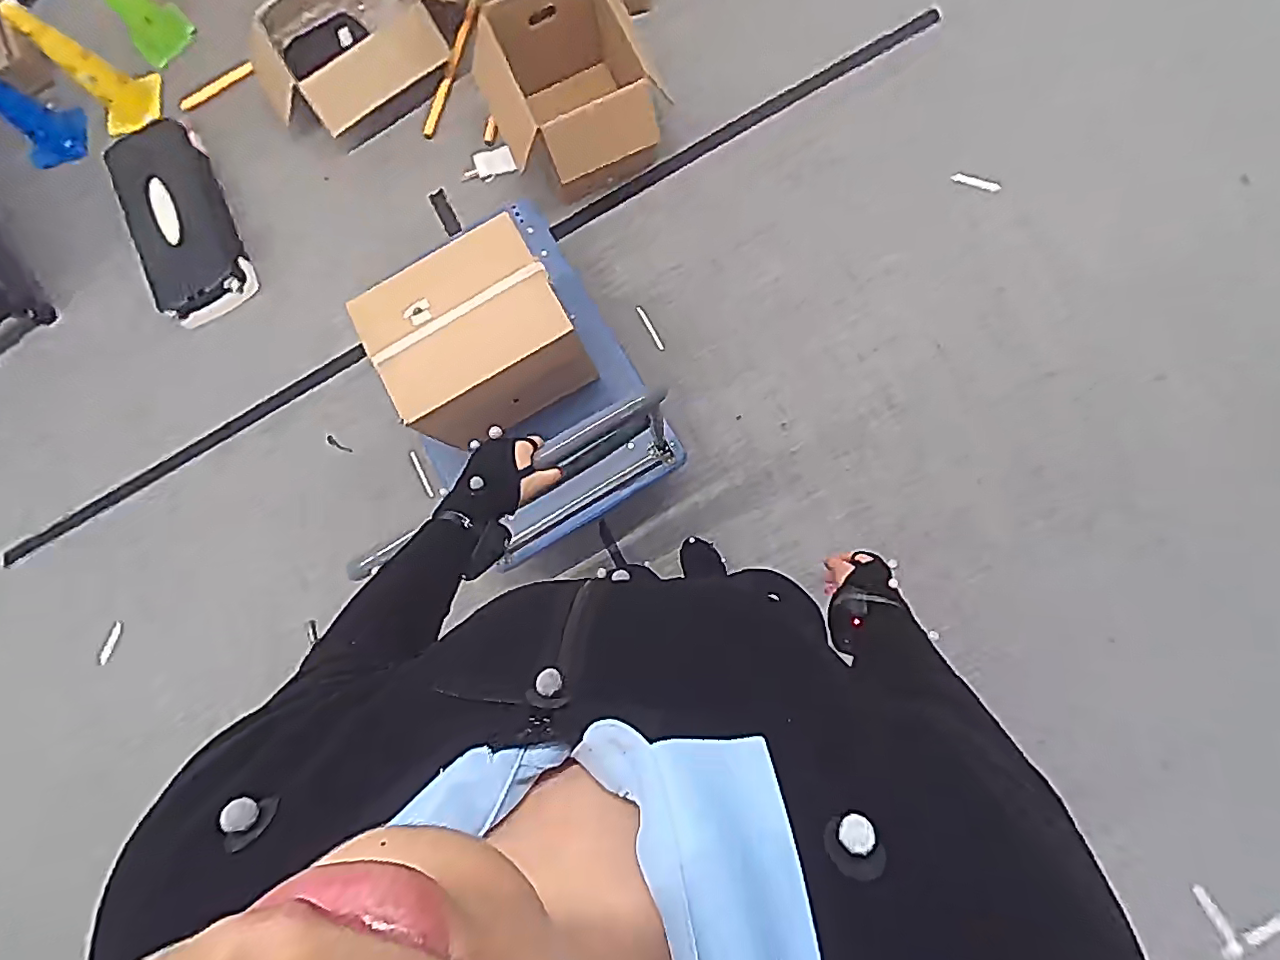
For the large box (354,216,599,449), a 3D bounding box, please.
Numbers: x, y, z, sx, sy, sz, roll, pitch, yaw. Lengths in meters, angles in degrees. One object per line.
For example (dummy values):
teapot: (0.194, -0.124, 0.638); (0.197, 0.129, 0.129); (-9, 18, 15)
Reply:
large box: (-0.362, -0.322, 1.288); (0.408, 0.320, 0.320); (-30, 79, 2)
